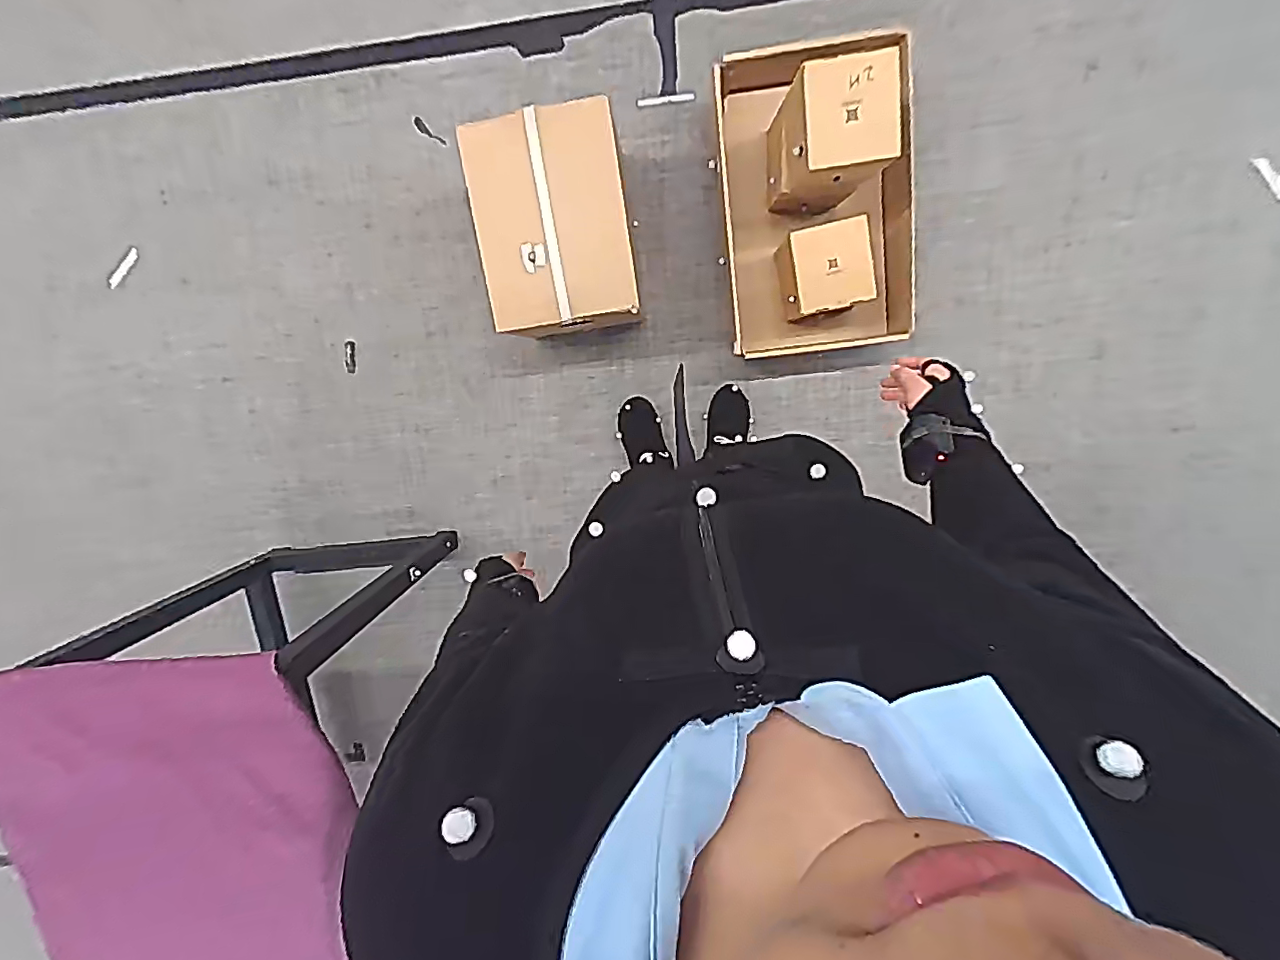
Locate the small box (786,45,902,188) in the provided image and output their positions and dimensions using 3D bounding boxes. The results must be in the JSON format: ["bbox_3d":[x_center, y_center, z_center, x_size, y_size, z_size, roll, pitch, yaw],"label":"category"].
[{"bbox_3d":[0.380,-0.674,1.027,0.168,0.176,0.179,-7,104,4],"label":"small box"}]

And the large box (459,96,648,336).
[{"bbox_3d":[-0.167,-0.561,1.236,0.320,0.320,0.408,-8,103,6],"label":"large box"}]
